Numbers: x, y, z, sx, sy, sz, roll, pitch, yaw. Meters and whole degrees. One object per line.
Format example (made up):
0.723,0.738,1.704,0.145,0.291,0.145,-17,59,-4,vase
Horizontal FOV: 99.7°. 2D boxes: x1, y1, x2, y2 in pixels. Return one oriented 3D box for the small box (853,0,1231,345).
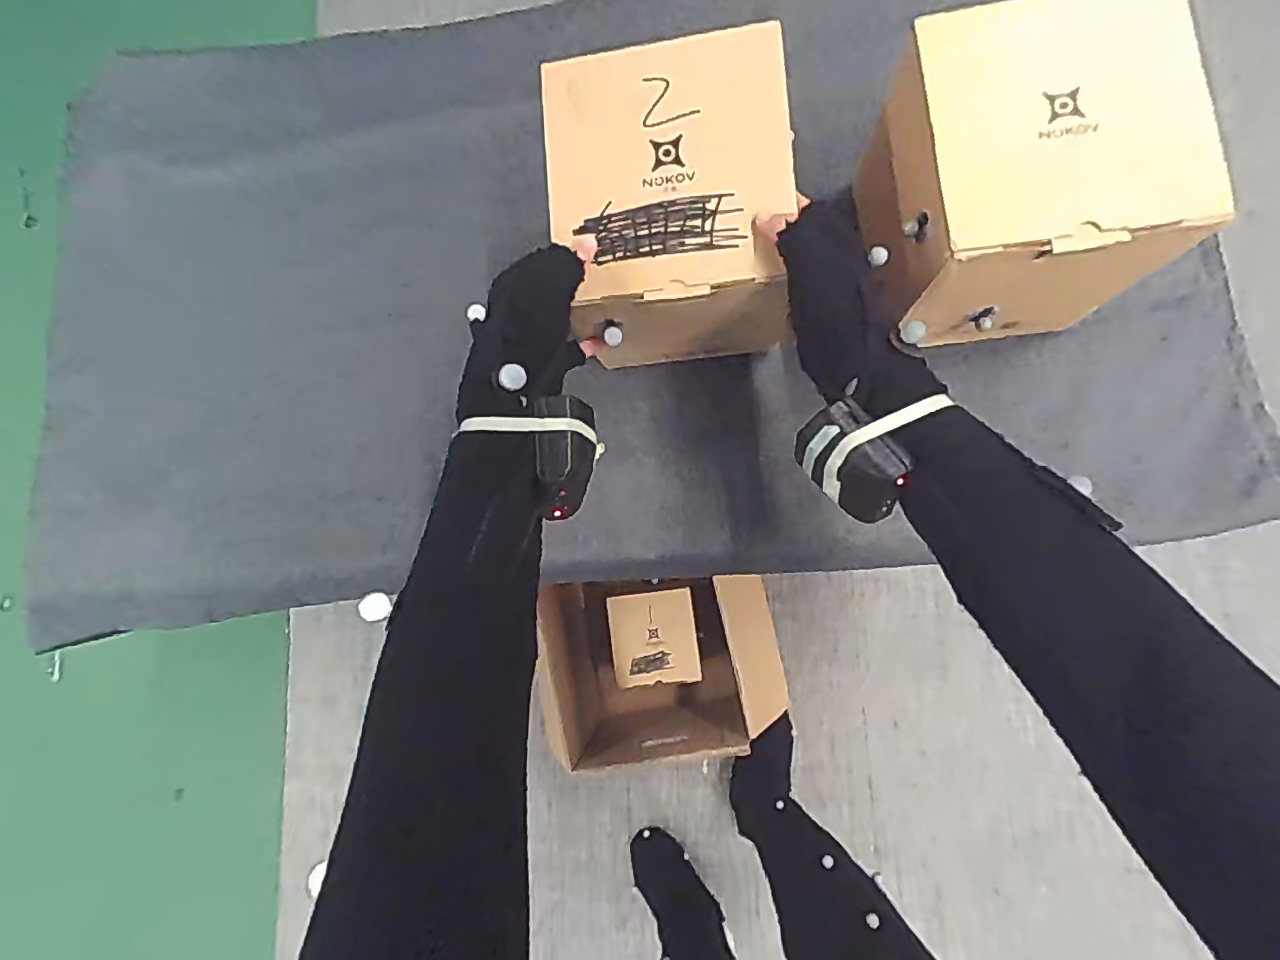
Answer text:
0.281,-0.227,0.427,0.168,0.176,0.179,-7,83,7,small box
